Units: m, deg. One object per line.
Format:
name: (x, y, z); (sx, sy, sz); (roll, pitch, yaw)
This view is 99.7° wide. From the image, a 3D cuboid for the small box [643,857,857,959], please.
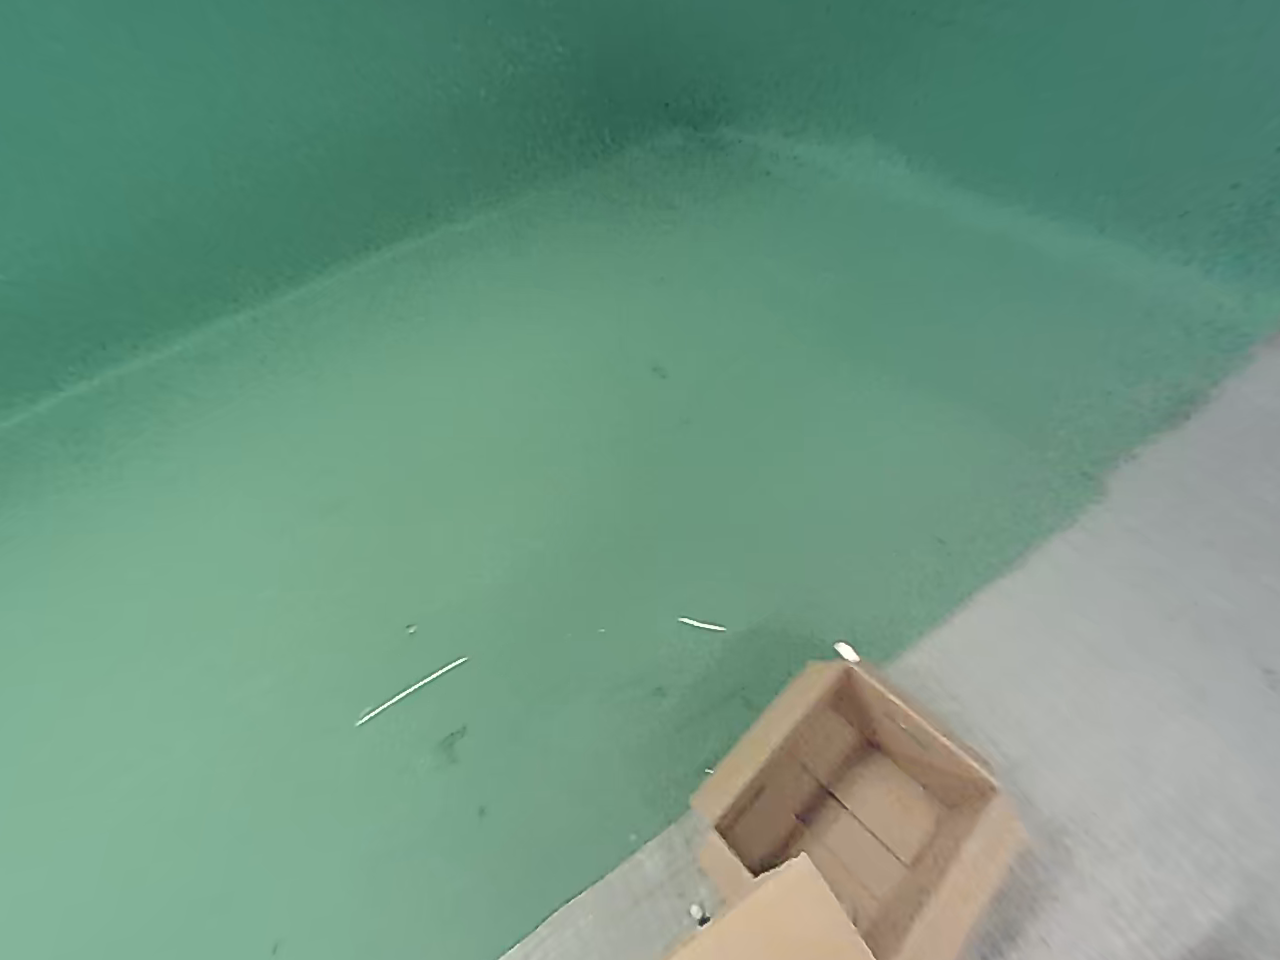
small box: (0.076, 0.397, 0.358); (0.168, 0.176, 0.179); (-25, 55, -19)
